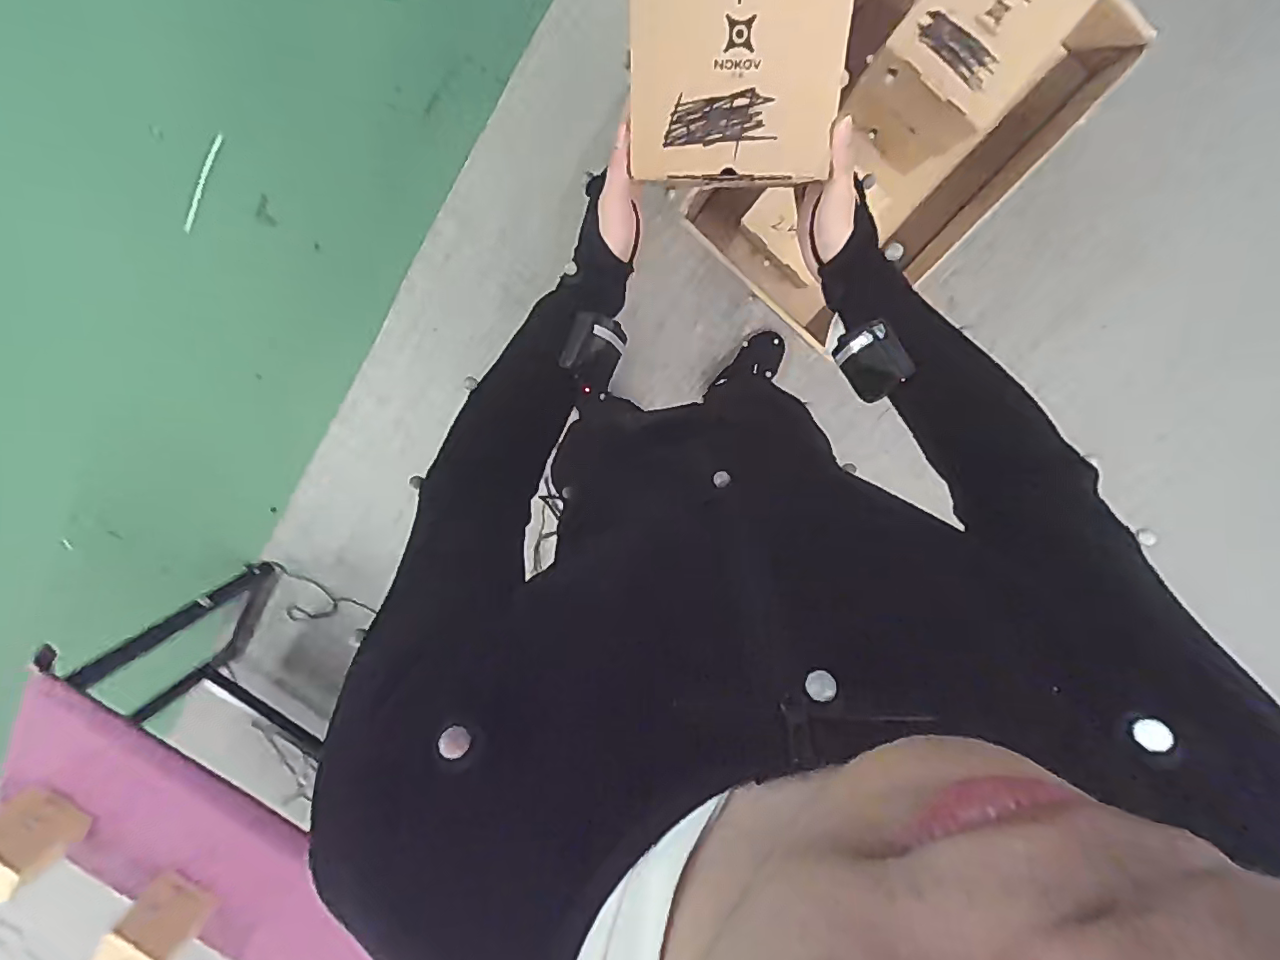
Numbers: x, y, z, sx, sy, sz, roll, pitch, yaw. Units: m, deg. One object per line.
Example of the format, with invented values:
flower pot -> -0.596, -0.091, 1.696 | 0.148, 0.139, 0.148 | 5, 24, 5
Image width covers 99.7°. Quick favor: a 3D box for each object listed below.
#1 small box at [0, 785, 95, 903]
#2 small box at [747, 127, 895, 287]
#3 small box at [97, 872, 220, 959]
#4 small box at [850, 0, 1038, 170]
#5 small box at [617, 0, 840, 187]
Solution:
small box -> -1.626, 0.963, 1.443 | 0.168, 0.176, 0.179 | 38, 110, -4
small box -> 0.301, -0.461, 0.947 | 0.168, 0.176, 0.179 | 42, 110, -5
small box -> -1.303, 1.224, 1.475 | 0.168, 0.176, 0.179 | 37, 111, -3
small box -> 0.466, -0.637, 0.864 | 0.168, 0.176, 0.179 | 40, 112, -5
small box -> 0.071, -0.362, 0.480 | 0.168, 0.176, 0.179 | 1, 116, 4
